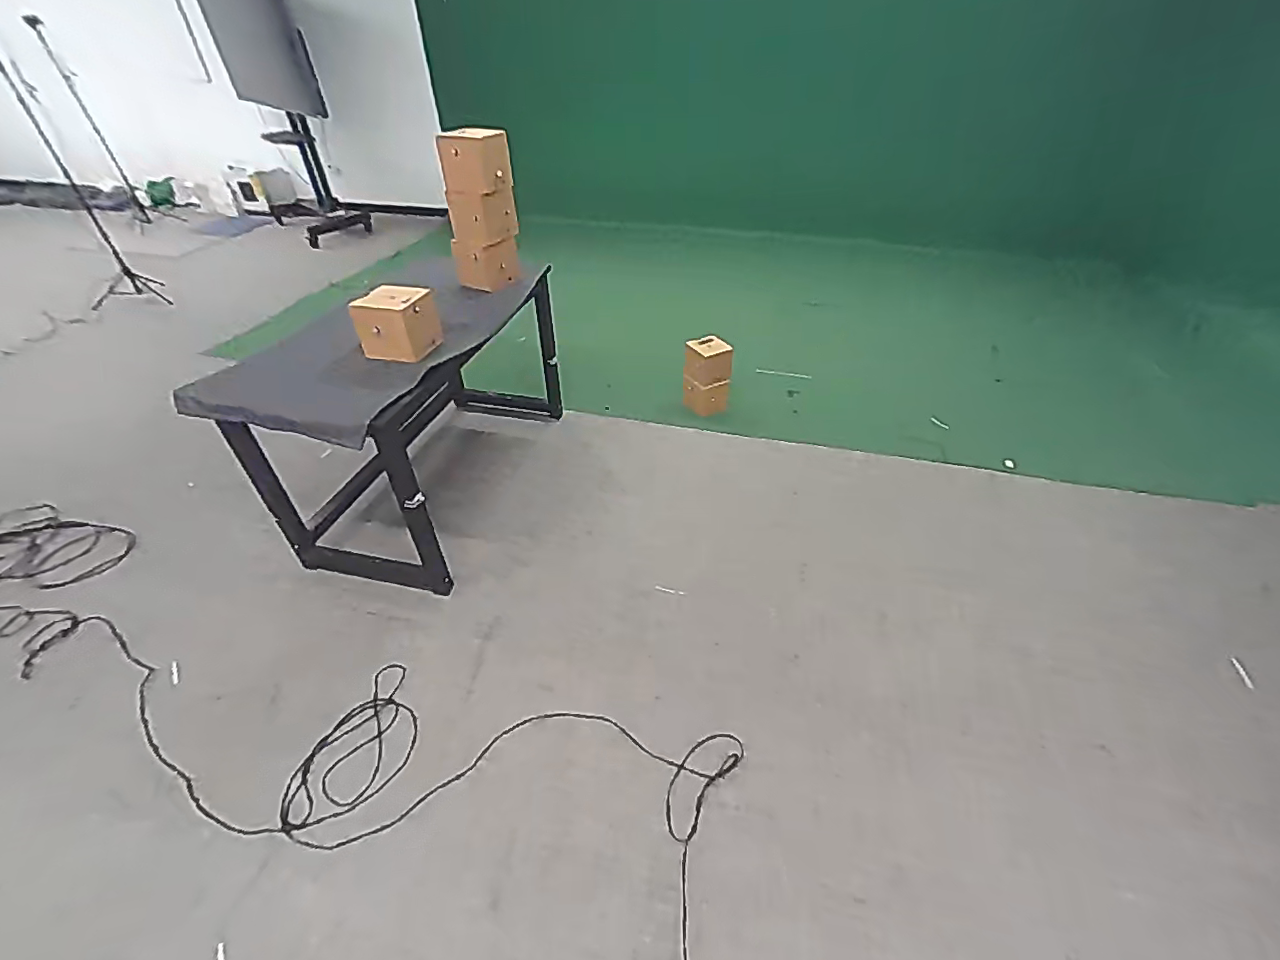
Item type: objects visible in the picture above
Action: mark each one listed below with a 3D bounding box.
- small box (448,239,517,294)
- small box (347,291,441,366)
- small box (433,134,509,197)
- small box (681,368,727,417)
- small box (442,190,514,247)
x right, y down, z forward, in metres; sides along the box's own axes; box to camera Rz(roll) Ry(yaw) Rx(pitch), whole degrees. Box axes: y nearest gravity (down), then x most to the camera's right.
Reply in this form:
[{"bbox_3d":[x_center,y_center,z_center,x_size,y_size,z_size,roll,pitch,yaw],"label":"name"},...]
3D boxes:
[{"bbox_3d":[-0.594,-0.826,2.065,0.179,0.176,0.168,21,45,27],"label":"small box"},{"bbox_3d":[-0.735,-0.458,1.636,0.179,0.176,0.168,7,41,11],"label":"small box"},{"bbox_3d":[-0.578,-1.090,1.872,0.179,0.176,0.168,14,42,18],"label":"small box"},{"bbox_3d":[0.323,-0.438,2.738,0.168,0.176,0.179,-21,44,-22],"label":"small box"},{"bbox_3d":[-0.583,-0.960,1.973,0.179,0.176,0.168,17,42,23],"label":"small box"}]
